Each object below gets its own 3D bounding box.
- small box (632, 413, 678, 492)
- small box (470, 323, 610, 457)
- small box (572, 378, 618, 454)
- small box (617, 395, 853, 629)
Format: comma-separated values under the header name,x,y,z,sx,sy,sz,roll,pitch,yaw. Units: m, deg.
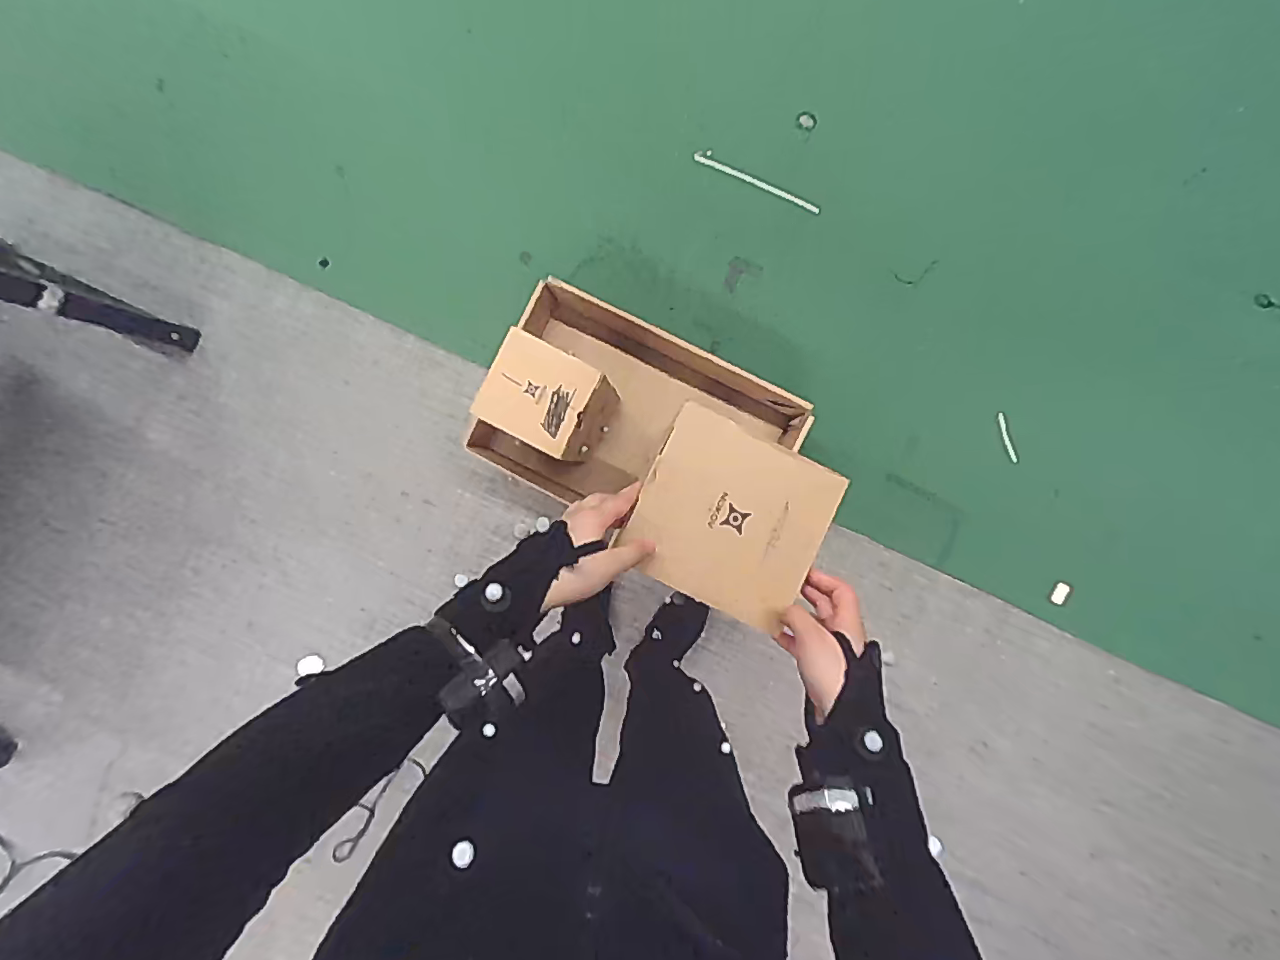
name,x,y,z,sx,sy,sz,roll,pitch,yaw
small box,0.101,-0.020,1.129,0.168,0.176,0.179,28,93,2
small box,-0.167,-0.152,0.970,0.179,0.176,0.168,28,92,2
small box,-0.160,-0.159,1.134,0.179,0.176,0.168,26,93,0
small box,0.084,0.034,0.580,0.179,0.176,0.168,26,86,-3
